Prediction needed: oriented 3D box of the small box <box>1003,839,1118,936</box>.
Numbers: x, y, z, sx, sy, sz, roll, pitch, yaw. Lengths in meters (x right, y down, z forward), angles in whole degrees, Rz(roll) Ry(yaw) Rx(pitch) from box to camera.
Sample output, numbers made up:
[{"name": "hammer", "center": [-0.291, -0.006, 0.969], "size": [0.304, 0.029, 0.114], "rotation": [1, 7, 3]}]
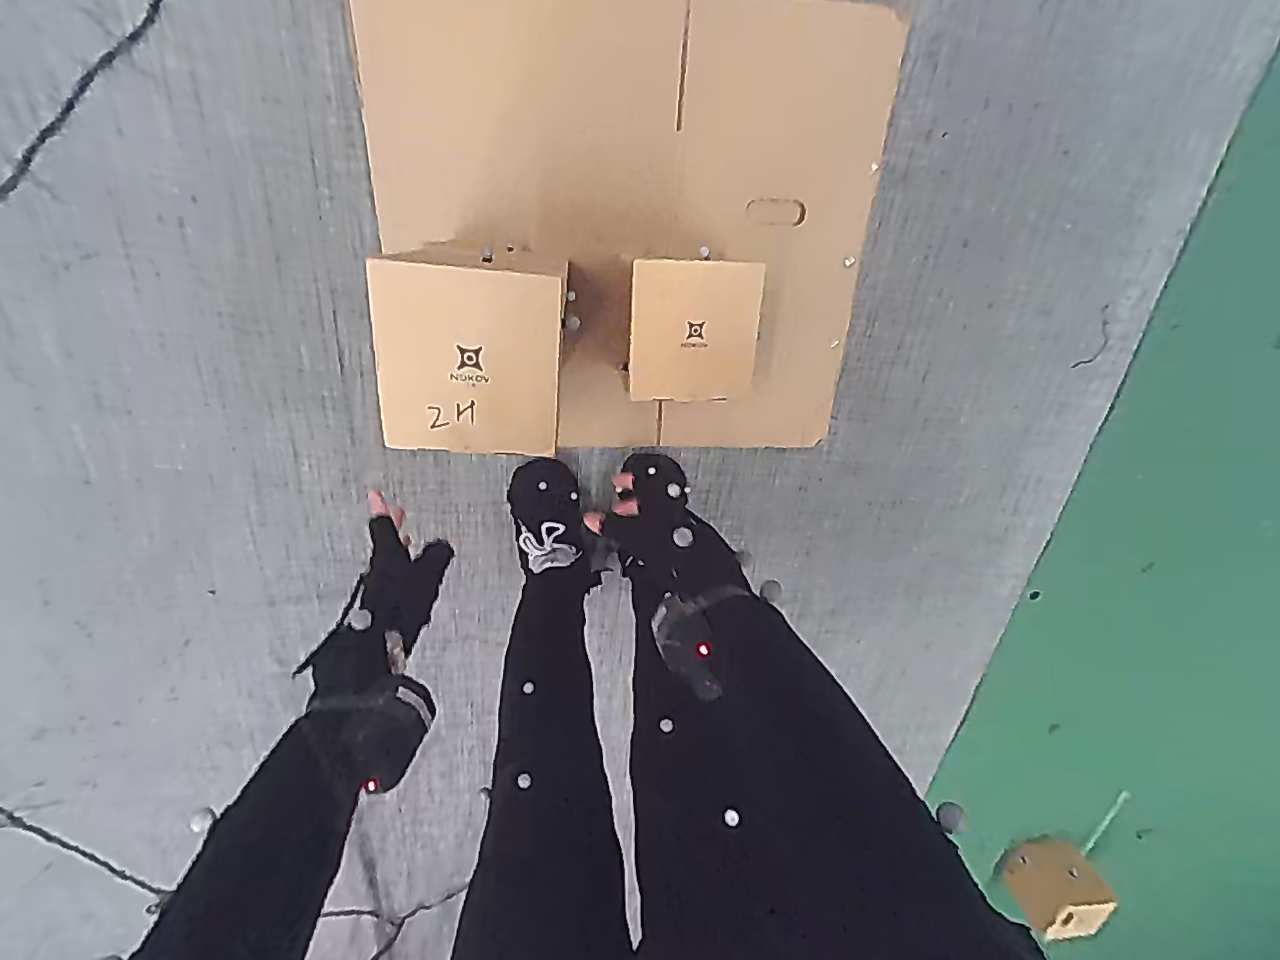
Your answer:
[{"name": "small box", "center": [1.217, 1.186, 1.582], "size": [0.179, 0.176, 0.168], "rotation": [3, 115, -10]}]

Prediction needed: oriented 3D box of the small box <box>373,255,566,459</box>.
[{"name": "small box", "center": [-0.166, -0.137, 0.575], "size": [0.168, 0.176, 0.179], "rotation": [3, 115, -8]}]

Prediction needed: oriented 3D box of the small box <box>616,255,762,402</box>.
[{"name": "small box", "center": [0.056, -0.217, 0.756], "size": [0.168, 0.176, 0.179], "rotation": [-2, 116, -8]}]
